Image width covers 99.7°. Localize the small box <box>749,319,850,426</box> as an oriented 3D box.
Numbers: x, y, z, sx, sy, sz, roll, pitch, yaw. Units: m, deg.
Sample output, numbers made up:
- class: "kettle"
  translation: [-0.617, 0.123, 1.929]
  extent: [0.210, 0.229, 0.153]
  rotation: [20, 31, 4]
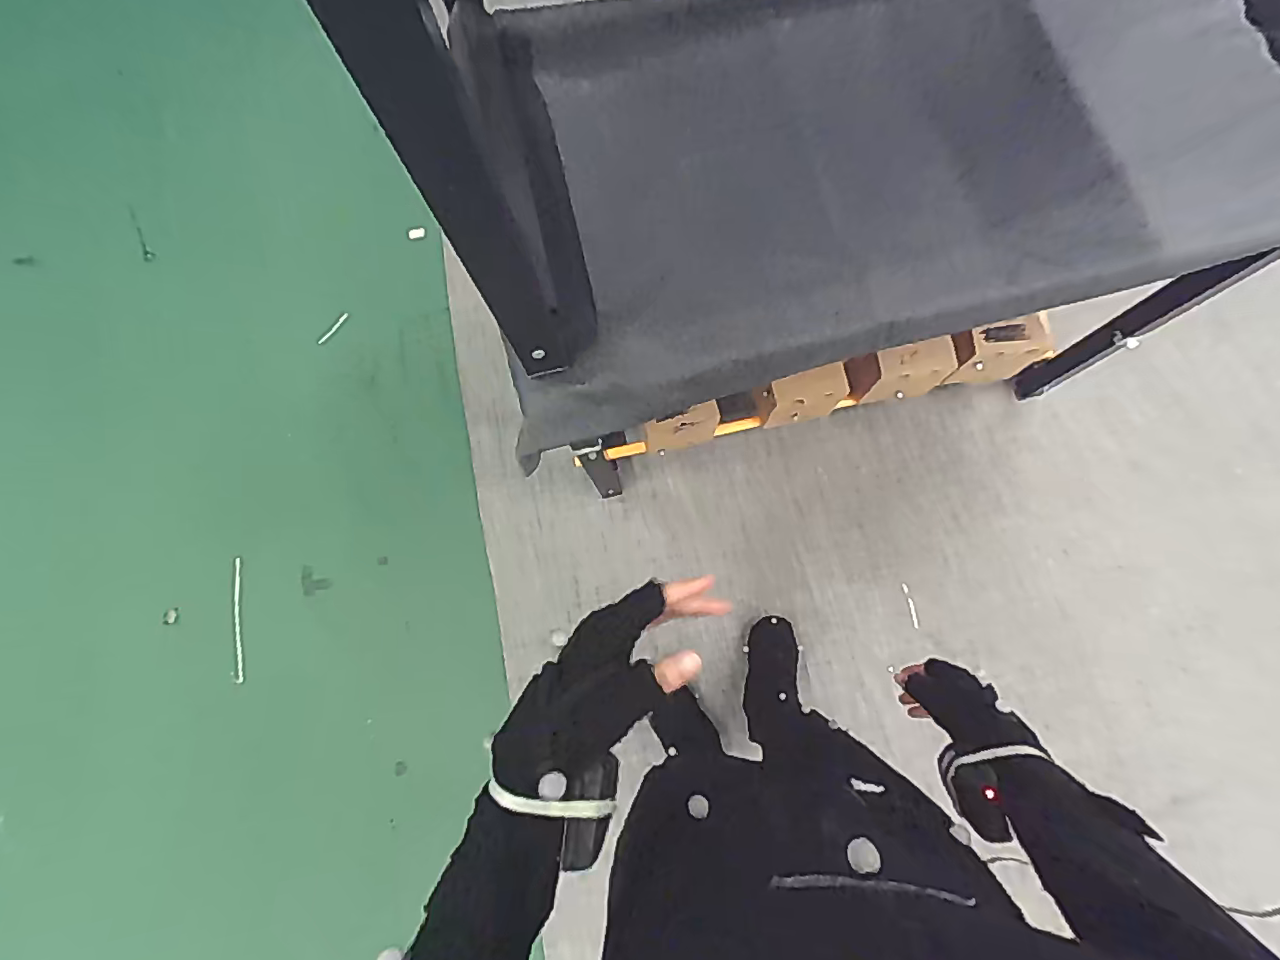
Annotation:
- class: "small box"
  translation: [0.360, -0.244, 1.255]
  extent: [0.168, 0.176, 0.179]
  rotation: [-11, 79, 1]
